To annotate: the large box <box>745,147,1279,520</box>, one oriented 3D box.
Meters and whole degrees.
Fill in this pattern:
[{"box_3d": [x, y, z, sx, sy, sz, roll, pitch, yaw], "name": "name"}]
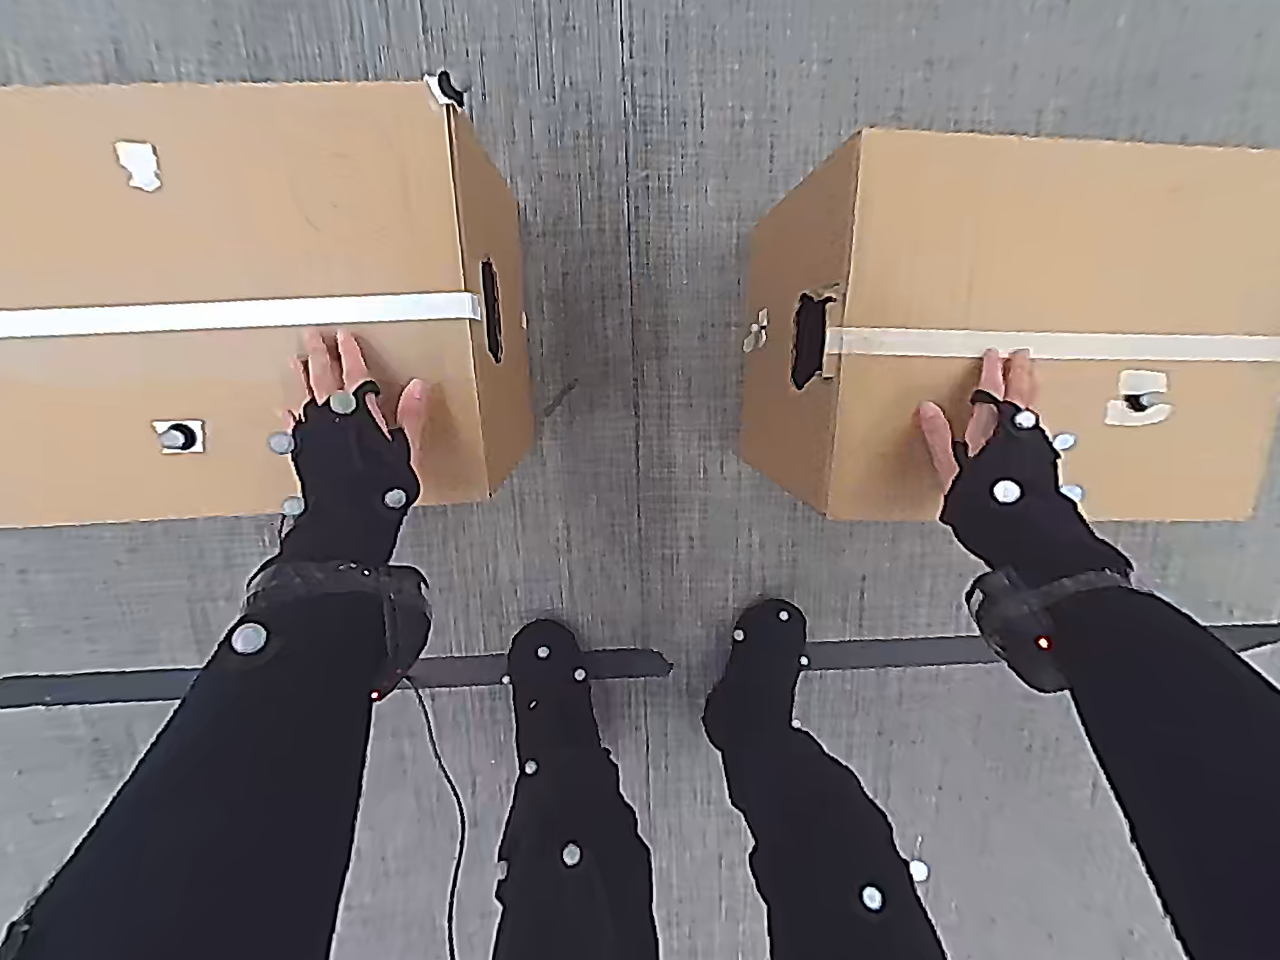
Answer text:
[{"box_3d": [0.357, -0.144, 0.620, 0.408, 0.320, 0.320, 0, 102, -5], "name": "large box"}]
